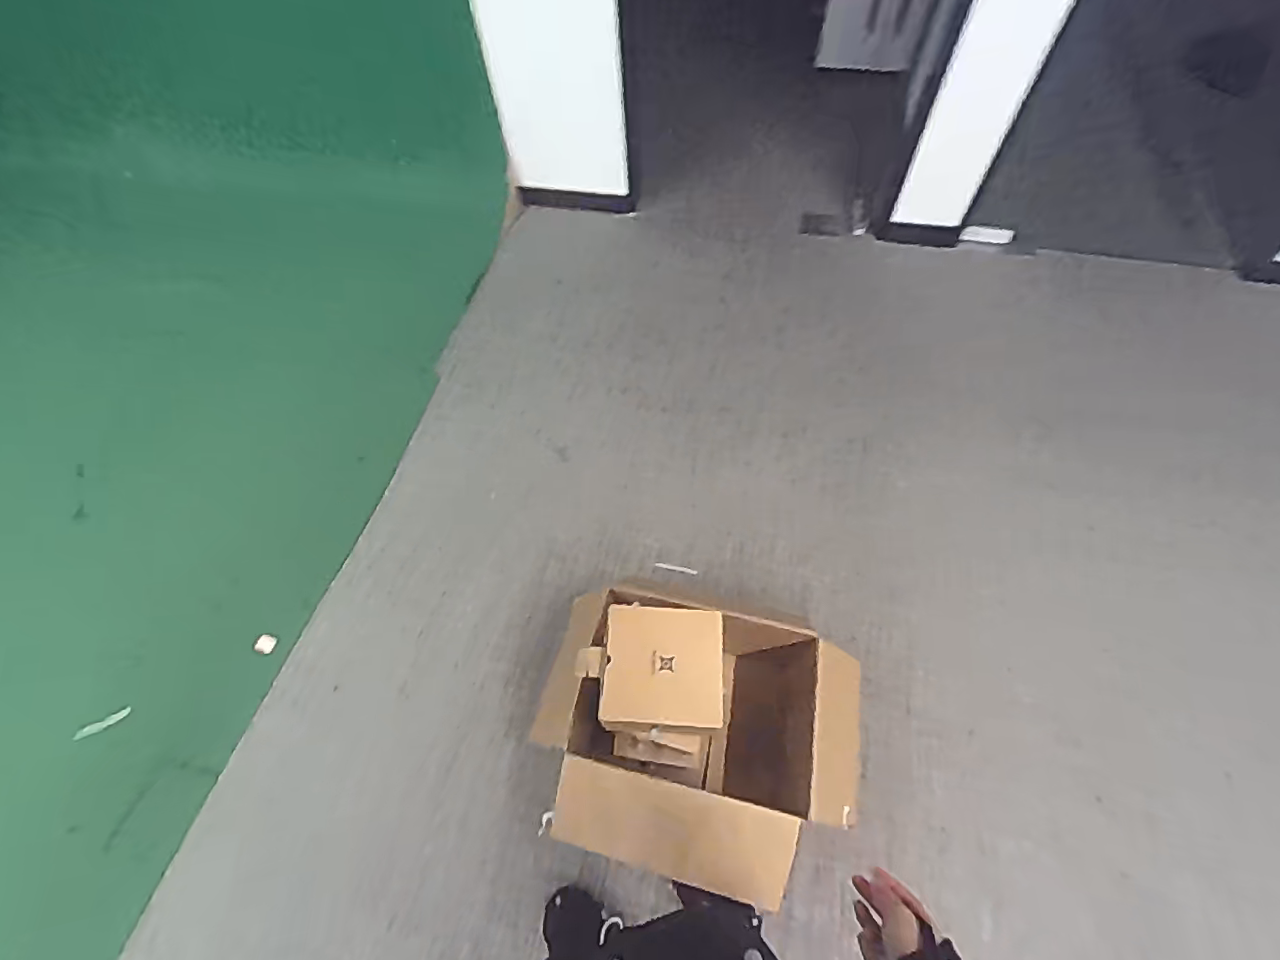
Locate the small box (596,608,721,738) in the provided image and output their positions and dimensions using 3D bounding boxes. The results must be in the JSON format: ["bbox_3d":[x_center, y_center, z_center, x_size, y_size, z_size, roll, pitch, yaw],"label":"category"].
[{"bbox_3d":[0.031,0.310,0.856,0.179,0.176,0.168,3,61,3],"label":"small box"}]

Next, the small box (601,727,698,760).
[{"bbox_3d":[0.031,0.397,0.994,0.168,0.176,0.179,14,63,8],"label":"small box"}]
